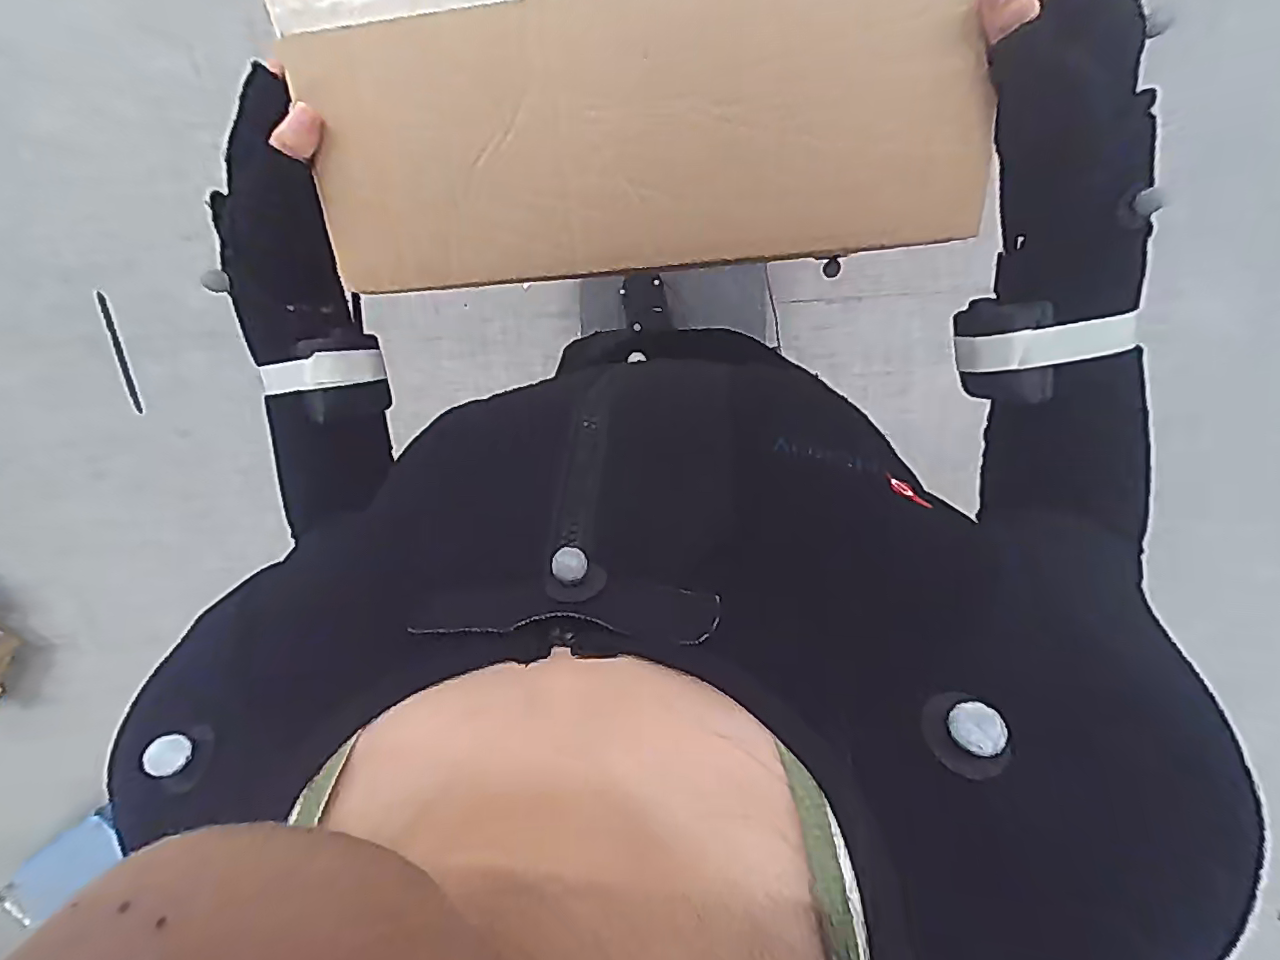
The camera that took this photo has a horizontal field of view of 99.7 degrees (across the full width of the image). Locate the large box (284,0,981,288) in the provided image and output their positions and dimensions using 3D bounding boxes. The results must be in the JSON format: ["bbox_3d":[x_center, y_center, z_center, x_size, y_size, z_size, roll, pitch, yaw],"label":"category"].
[{"bbox_3d":[0.001,-0.343,0.436,0.408,0.320,0.320,-2,111,8],"label":"large box"}]
